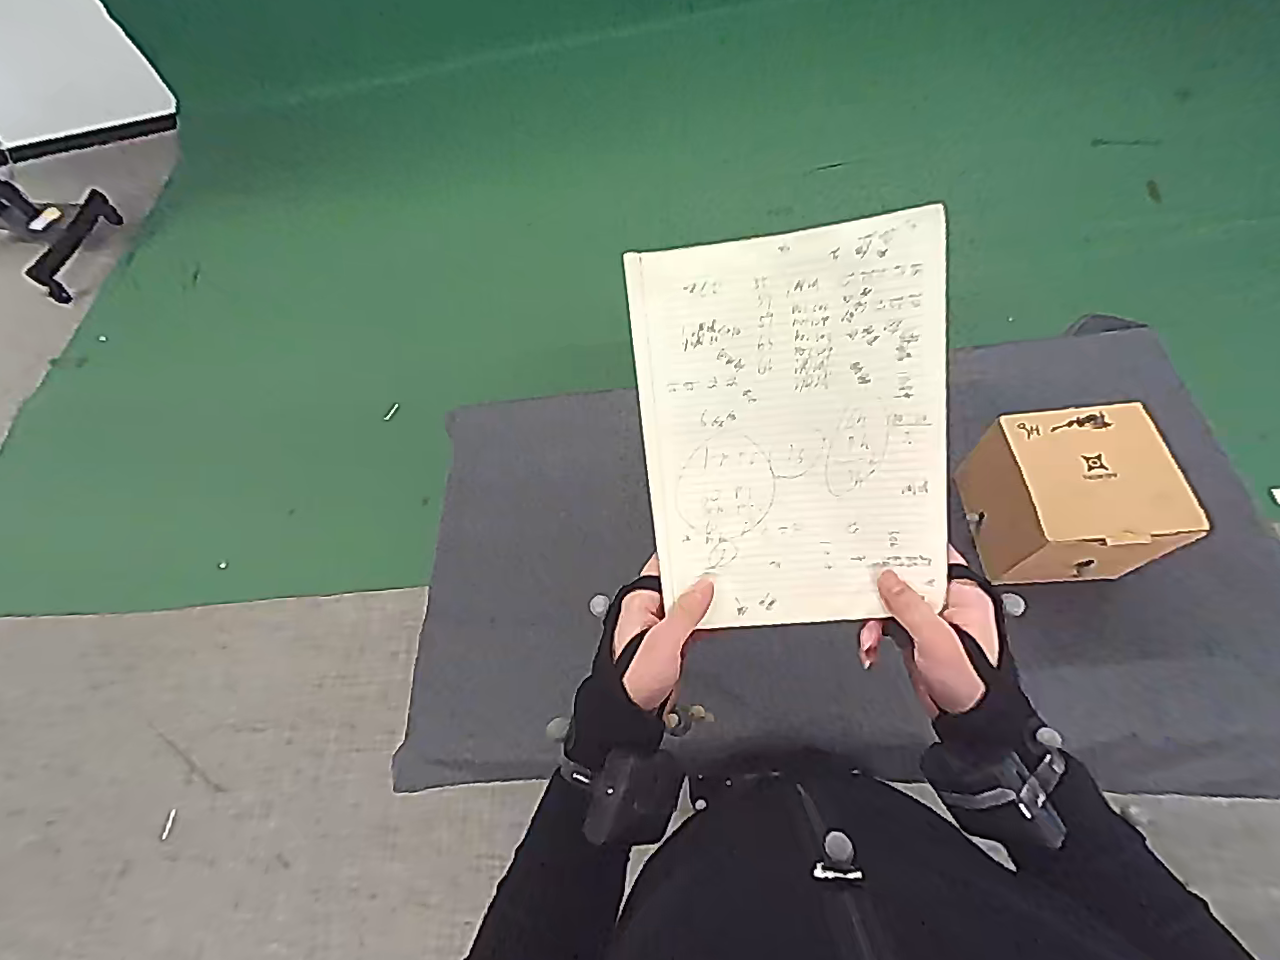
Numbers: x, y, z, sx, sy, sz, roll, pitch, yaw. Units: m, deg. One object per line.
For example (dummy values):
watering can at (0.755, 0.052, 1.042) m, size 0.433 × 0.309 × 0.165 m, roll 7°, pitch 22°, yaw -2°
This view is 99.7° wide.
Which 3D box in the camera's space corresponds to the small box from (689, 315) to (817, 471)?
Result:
small box at (0.168, -0.124, 0.841) m, size 0.168 × 0.176 × 0.179 m, roll -6°, pitch 62°, yaw 6°

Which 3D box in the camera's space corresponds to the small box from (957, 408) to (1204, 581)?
small box at (0.551, 0.030, 0.710) m, size 0.168 × 0.176 × 0.179 m, roll -5°, pitch 64°, yaw 7°
